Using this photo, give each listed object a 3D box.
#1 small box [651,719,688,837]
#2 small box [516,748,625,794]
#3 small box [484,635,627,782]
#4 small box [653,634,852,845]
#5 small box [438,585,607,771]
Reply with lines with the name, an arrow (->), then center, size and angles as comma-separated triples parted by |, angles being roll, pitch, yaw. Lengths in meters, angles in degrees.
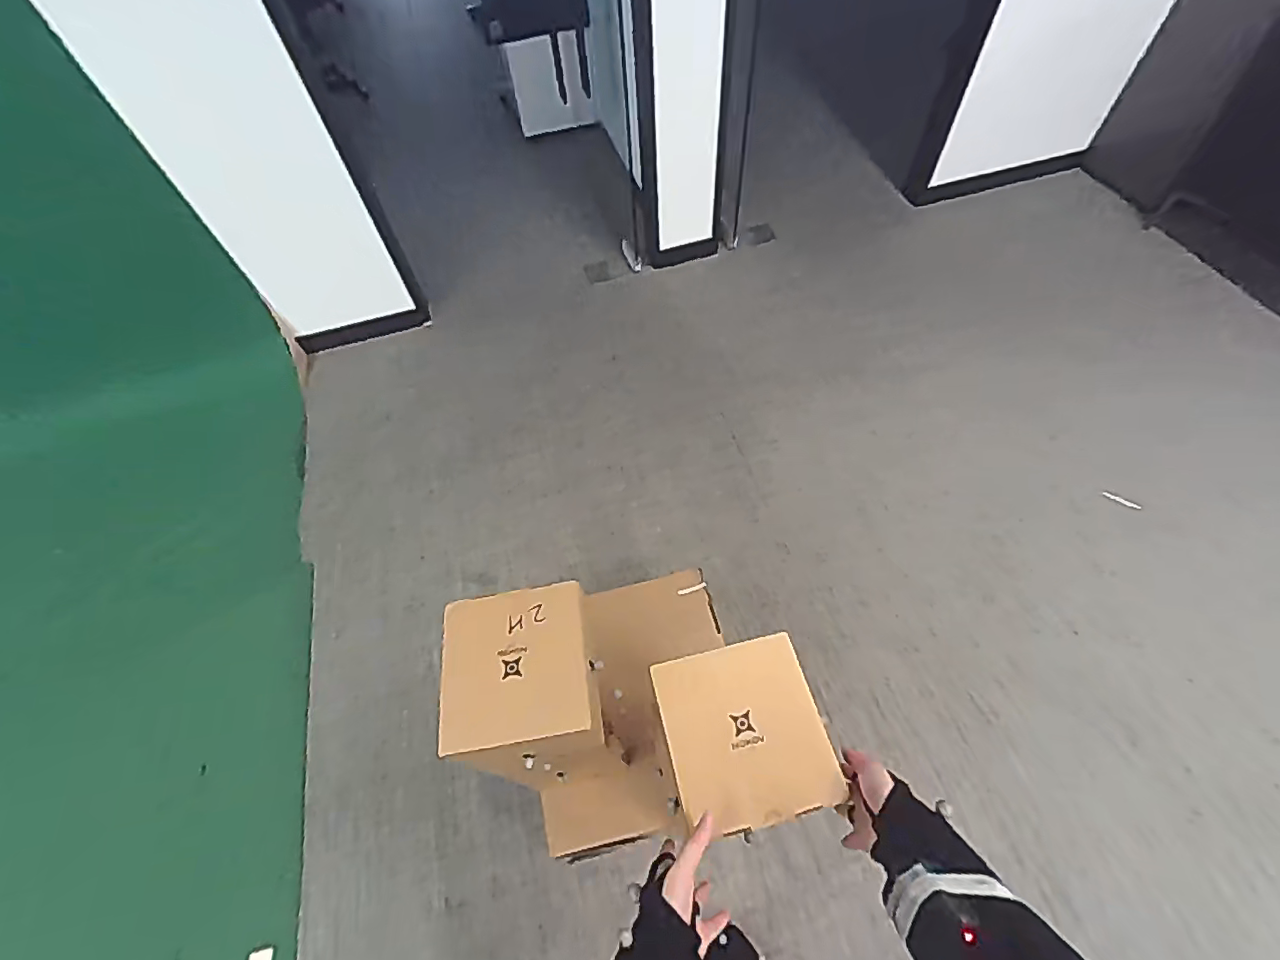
small box -> 0.123, 0.480, 0.908 | 0.179, 0.176, 0.168 | -15, 56, -6
small box -> -0.128, 0.433, 0.959 | 0.168, 0.176, 0.179 | -14, 55, -5
small box -> -0.130, 0.341, 0.819 | 0.179, 0.176, 0.168 | -16, 56, -3
small box -> 0.112, 0.306, 0.632 | 0.168, 0.176, 0.179 | -13, 58, -6
small box -> -0.138, 0.256, 0.680 | 0.168, 0.176, 0.179 | -9, 56, -2
